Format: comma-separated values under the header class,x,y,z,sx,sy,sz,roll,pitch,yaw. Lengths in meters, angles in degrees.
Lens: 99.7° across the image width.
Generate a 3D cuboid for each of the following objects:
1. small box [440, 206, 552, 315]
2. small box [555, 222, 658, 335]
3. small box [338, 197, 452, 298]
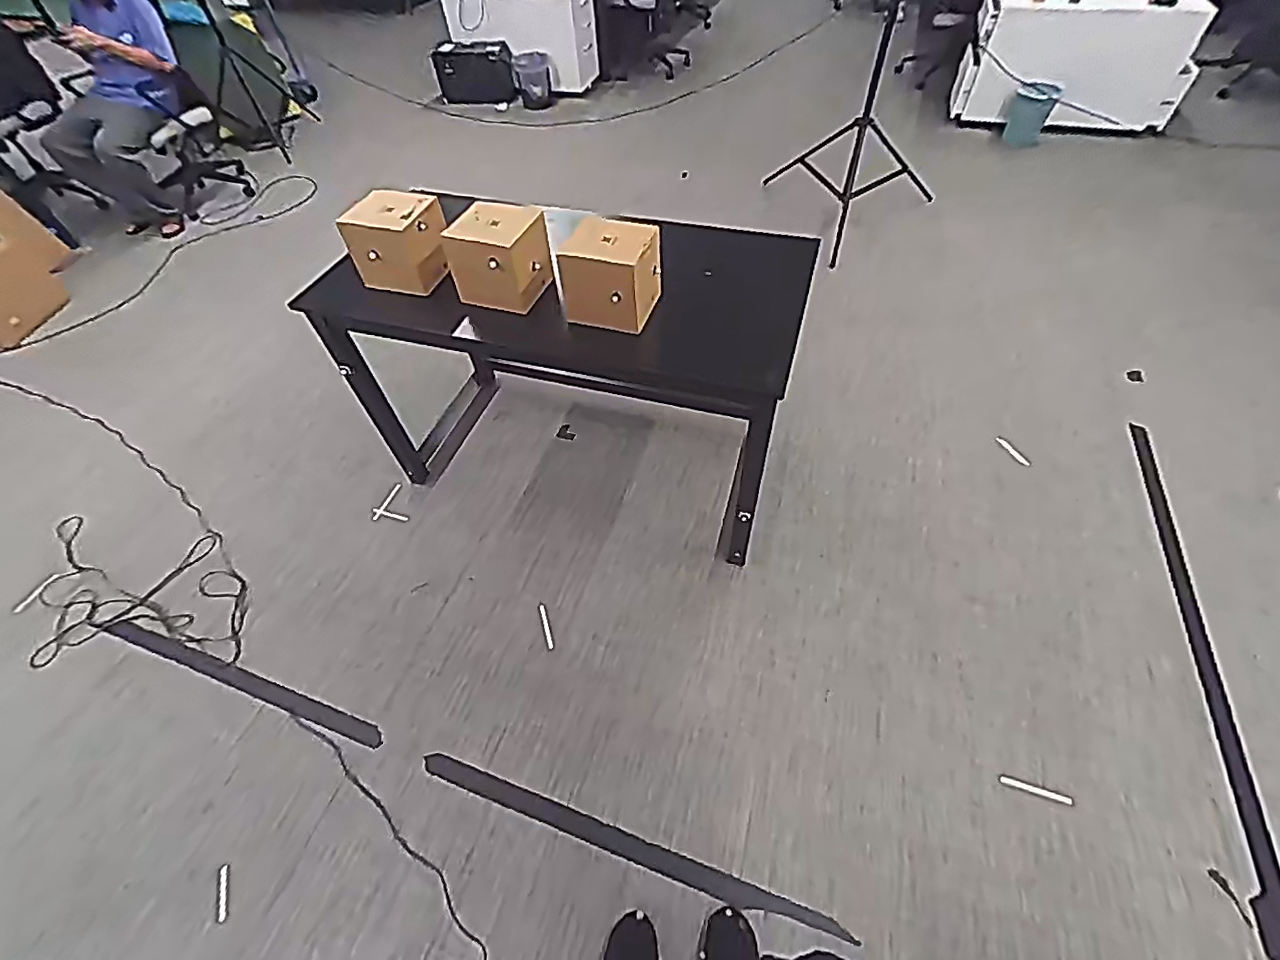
class,x,y,z,sx,sy,sz,roll,pitch,yaw
small box,-0.323,-0.507,1.260,0.179,0.176,0.168,14,54,14
small box,-0.064,-0.442,1.198,0.179,0.176,0.168,13,53,14
small box,-0.583,-0.567,1.322,0.179,0.176,0.168,11,54,12
